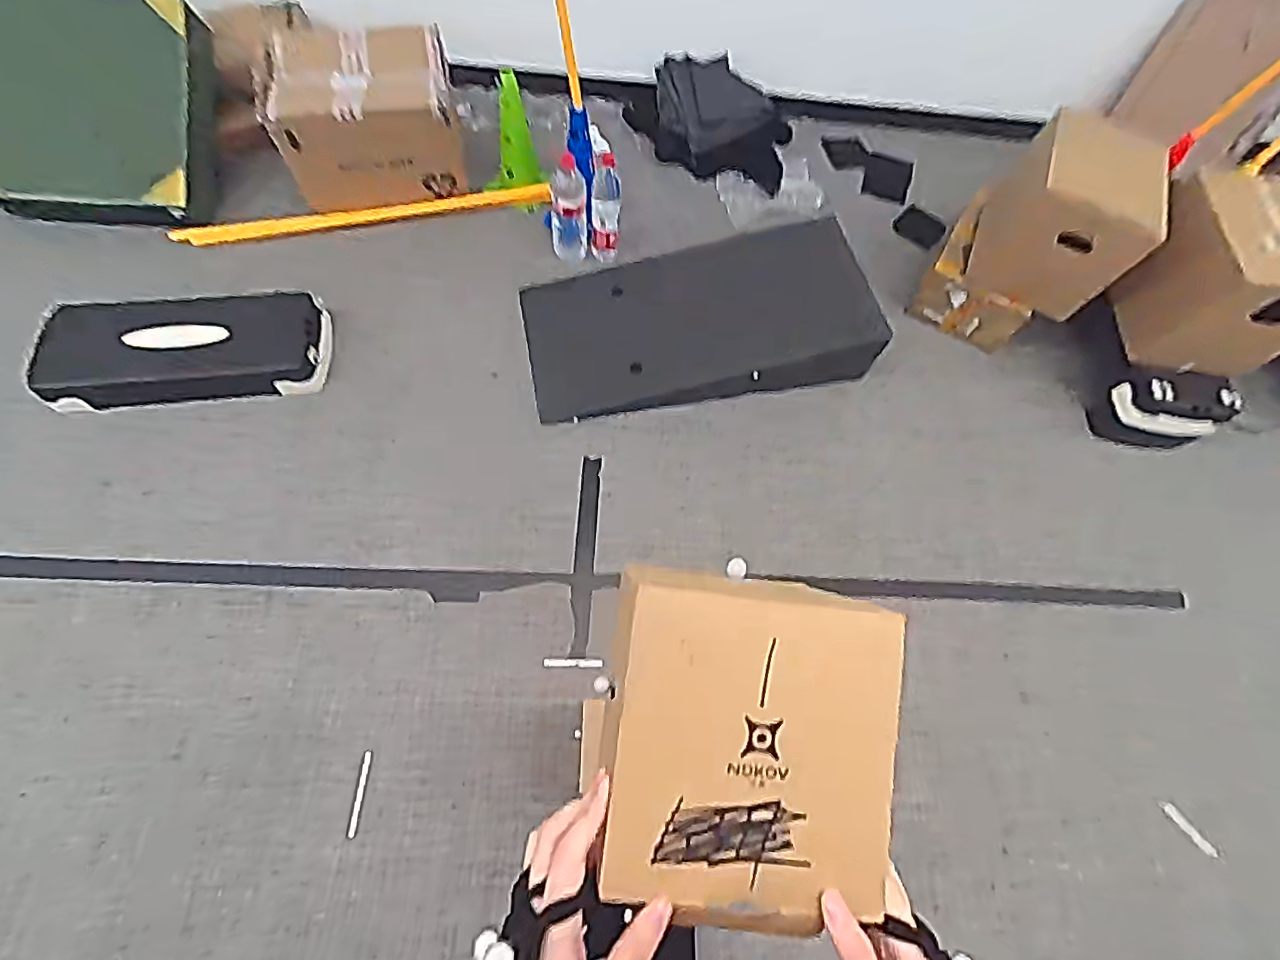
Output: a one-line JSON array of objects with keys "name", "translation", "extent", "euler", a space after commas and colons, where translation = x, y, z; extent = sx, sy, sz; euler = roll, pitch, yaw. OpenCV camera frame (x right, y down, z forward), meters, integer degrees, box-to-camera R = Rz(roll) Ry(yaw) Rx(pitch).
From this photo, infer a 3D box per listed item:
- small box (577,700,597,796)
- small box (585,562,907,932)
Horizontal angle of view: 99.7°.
[{"name": "small box", "translation": [-0.036, 0.543, 1.104], "extent": [0.179, 0.176, 0.168], "euler": [3, 65, -4]}, {"name": "small box", "translation": [0.056, 0.159, 0.378], "extent": [0.168, 0.176, 0.179], "euler": [7, 84, -4]}]
